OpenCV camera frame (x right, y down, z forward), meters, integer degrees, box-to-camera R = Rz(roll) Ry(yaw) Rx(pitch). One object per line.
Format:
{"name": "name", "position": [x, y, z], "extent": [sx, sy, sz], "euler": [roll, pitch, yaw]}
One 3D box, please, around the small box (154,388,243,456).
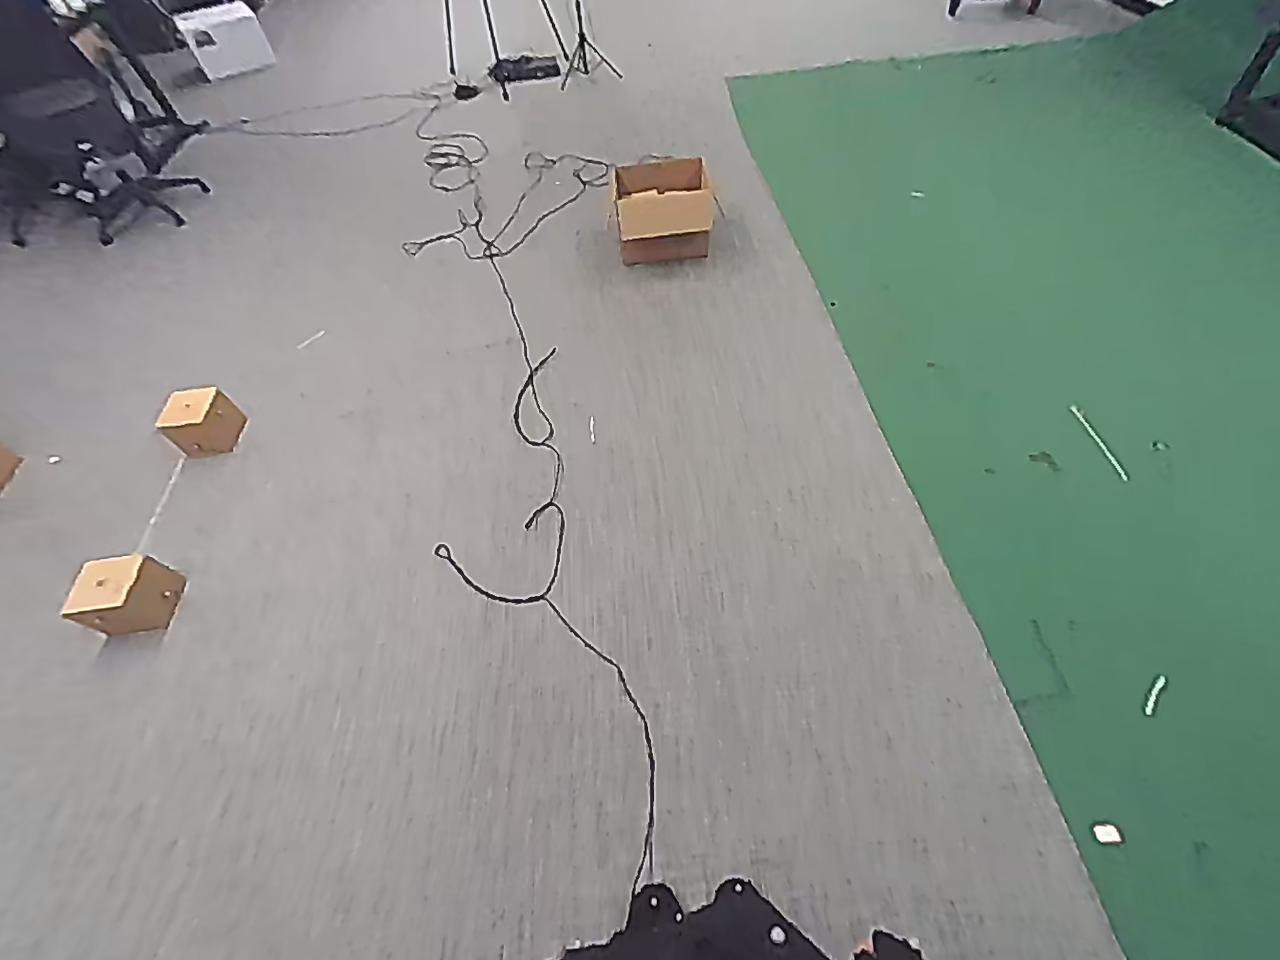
{"name": "small box", "position": [-1.600, -0.211, 1.975], "extent": [0.168, 0.176, 0.179], "euler": [-7, 55, -1]}

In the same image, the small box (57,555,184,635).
{"name": "small box", "position": [-1.505, 0.341, 1.580], "extent": [0.179, 0.176, 0.168], "euler": [-8, 55, -1]}
